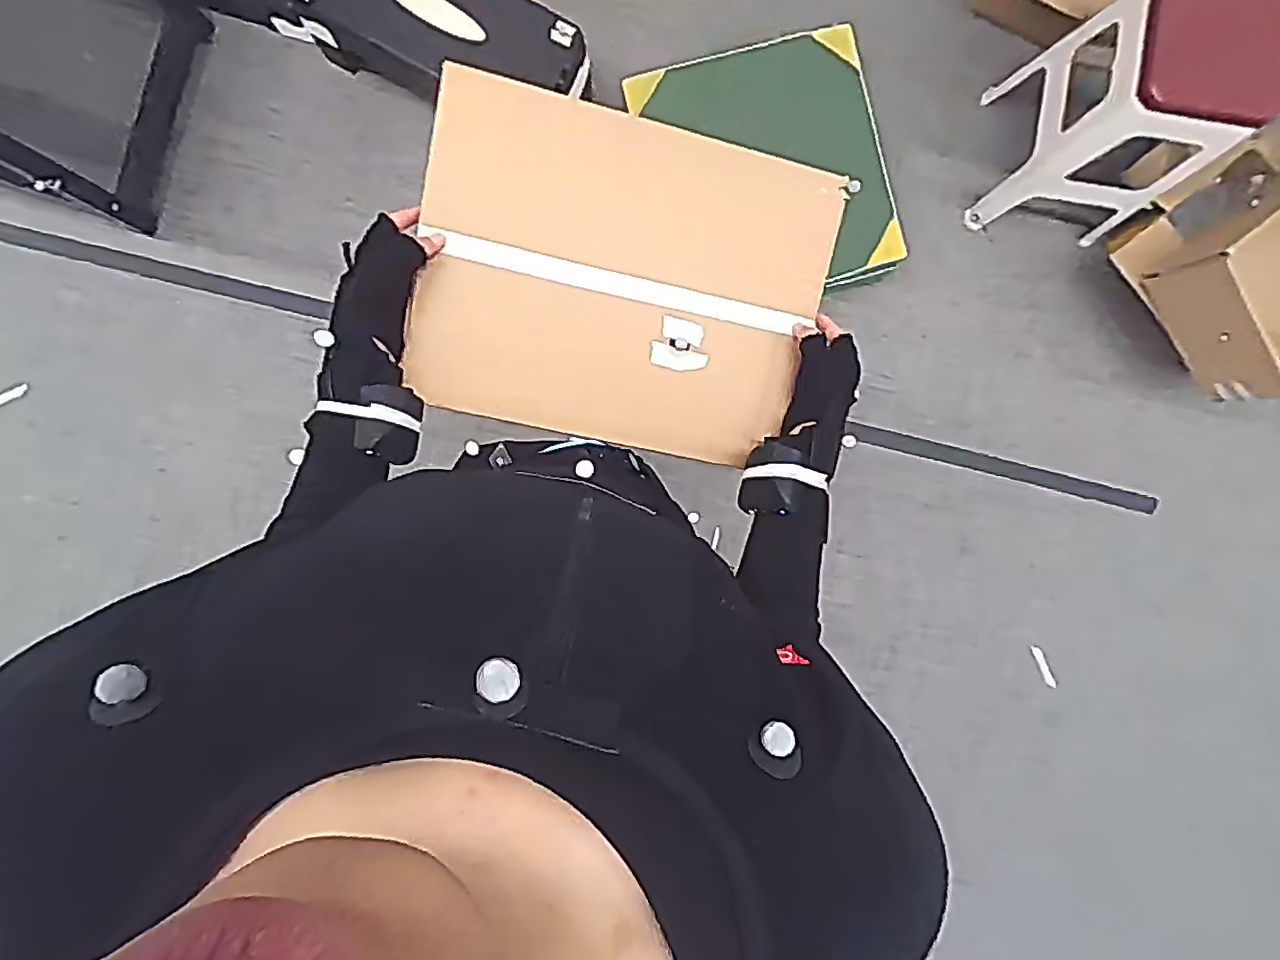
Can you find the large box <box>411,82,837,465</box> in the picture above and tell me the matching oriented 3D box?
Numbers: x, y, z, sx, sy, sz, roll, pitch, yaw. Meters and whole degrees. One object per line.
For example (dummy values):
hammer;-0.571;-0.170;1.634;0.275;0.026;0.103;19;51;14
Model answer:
large box;-0.032;-0.219;0.705;0.408;0.320;0.320;11;98;-9
